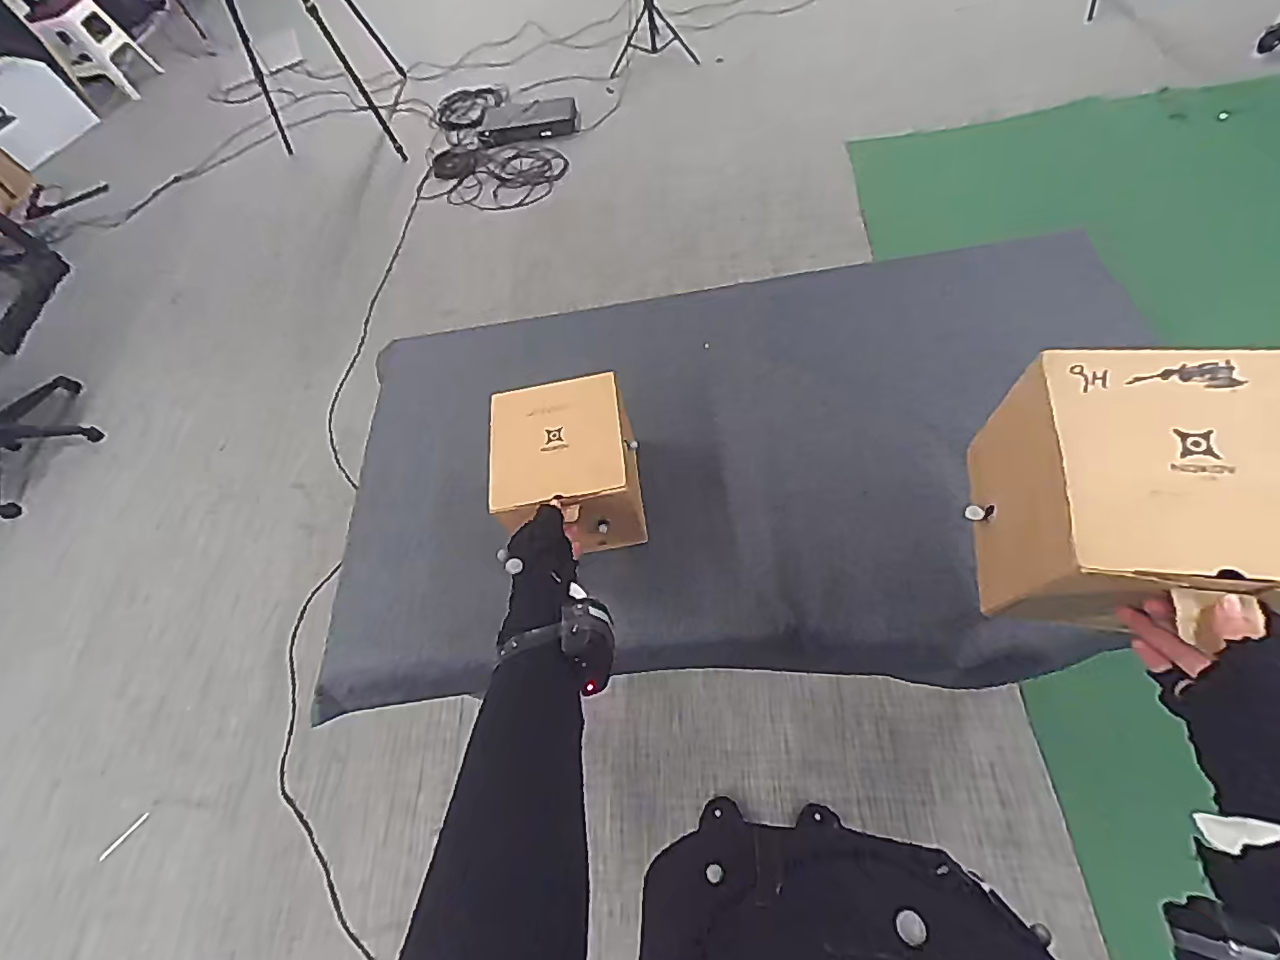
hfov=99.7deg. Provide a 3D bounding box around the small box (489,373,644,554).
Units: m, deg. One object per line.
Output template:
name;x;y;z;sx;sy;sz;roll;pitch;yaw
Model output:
small box;-0.092;-0.012;0.727;0.168;0.176;0.179;-10;59;3

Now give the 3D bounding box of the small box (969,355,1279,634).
small box;0.388;0.020;0.435;0.168;0.176;0.179;4;68;13
